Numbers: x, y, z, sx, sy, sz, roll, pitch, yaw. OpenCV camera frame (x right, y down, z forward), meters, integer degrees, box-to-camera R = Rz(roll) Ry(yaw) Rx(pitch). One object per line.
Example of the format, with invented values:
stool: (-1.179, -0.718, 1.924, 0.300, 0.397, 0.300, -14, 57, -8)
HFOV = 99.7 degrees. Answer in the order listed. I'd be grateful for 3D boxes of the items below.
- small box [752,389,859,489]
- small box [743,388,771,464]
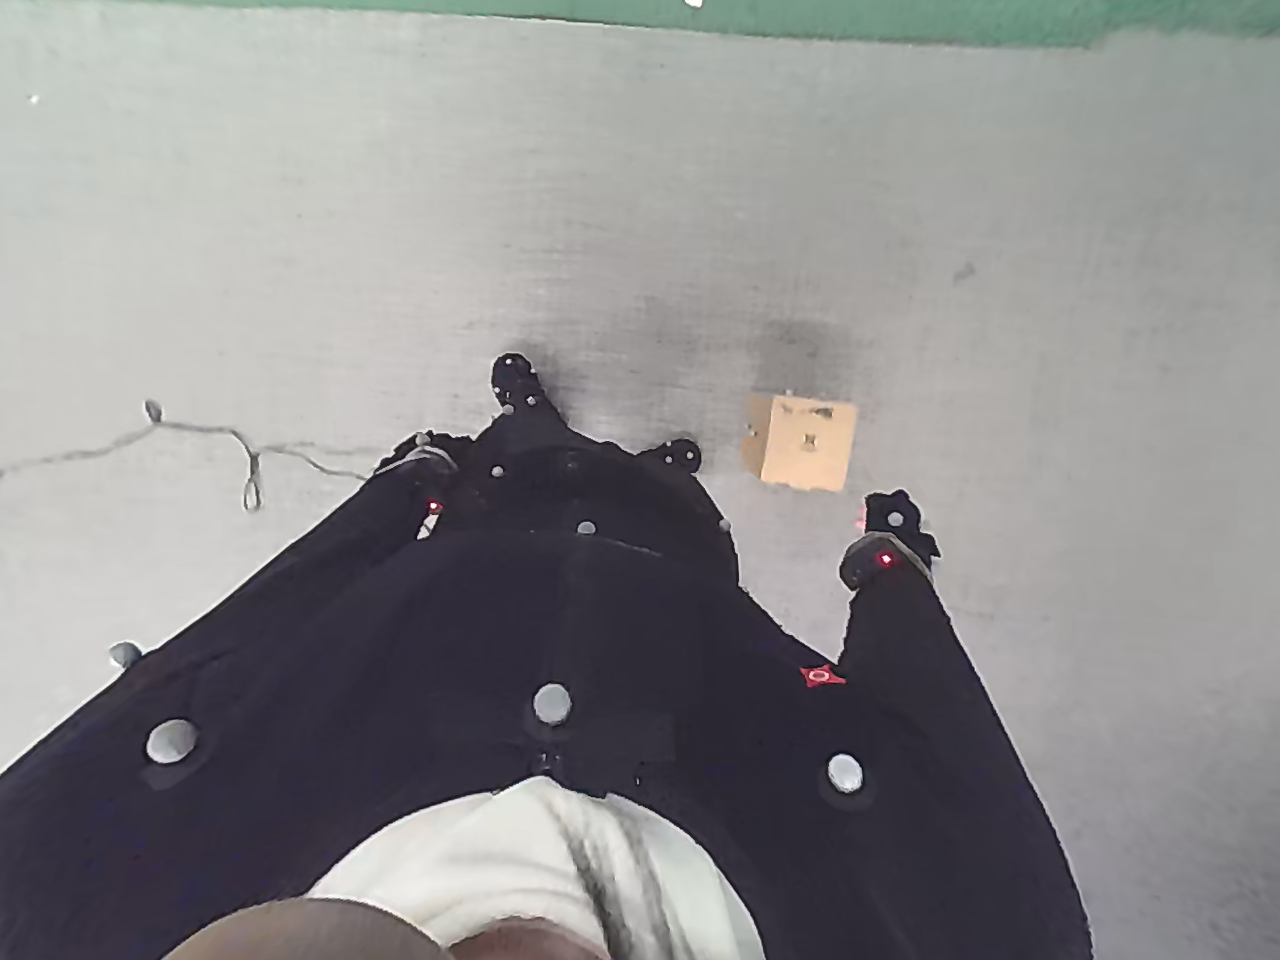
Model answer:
small box: (0.338, -0.092, 1.142, 0.168, 0.176, 0.179, 9, 101, 2)
small box: (0.352, -0.121, 1.300, 0.168, 0.176, 0.179, 10, 100, 0)
